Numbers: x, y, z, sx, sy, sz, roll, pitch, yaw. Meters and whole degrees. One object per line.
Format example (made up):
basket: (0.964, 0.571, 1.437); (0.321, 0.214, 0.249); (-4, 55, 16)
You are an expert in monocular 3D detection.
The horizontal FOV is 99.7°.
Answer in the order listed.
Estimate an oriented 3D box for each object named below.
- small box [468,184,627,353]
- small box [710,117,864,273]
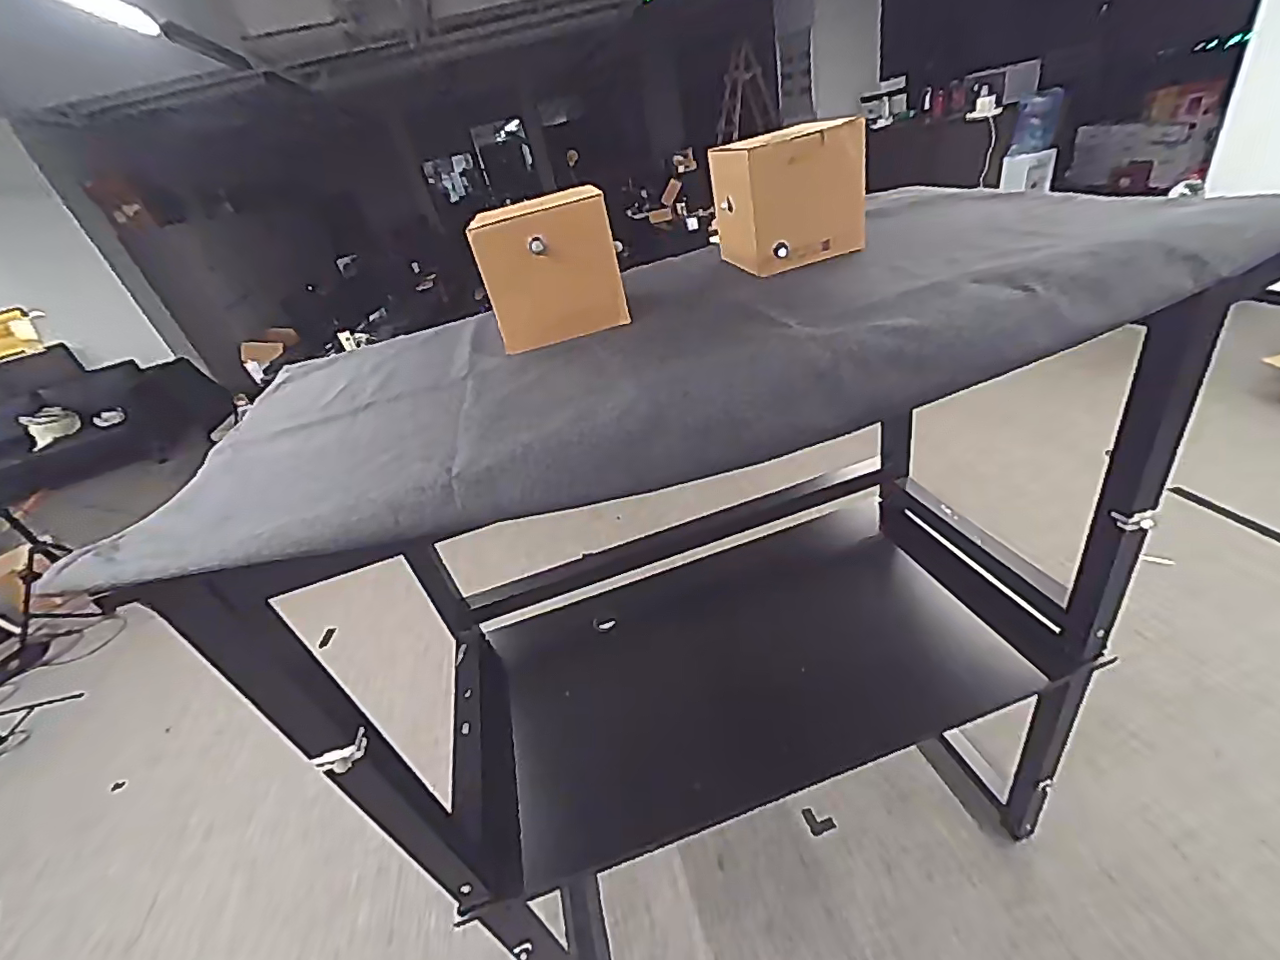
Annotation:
small box: (-0.121, -0.301, 0.766); (0.179, 0.176, 0.168); (-16, 33, -1)
small box: (0.220, -0.425, 0.817); (0.168, 0.176, 0.179); (-17, 32, -3)
